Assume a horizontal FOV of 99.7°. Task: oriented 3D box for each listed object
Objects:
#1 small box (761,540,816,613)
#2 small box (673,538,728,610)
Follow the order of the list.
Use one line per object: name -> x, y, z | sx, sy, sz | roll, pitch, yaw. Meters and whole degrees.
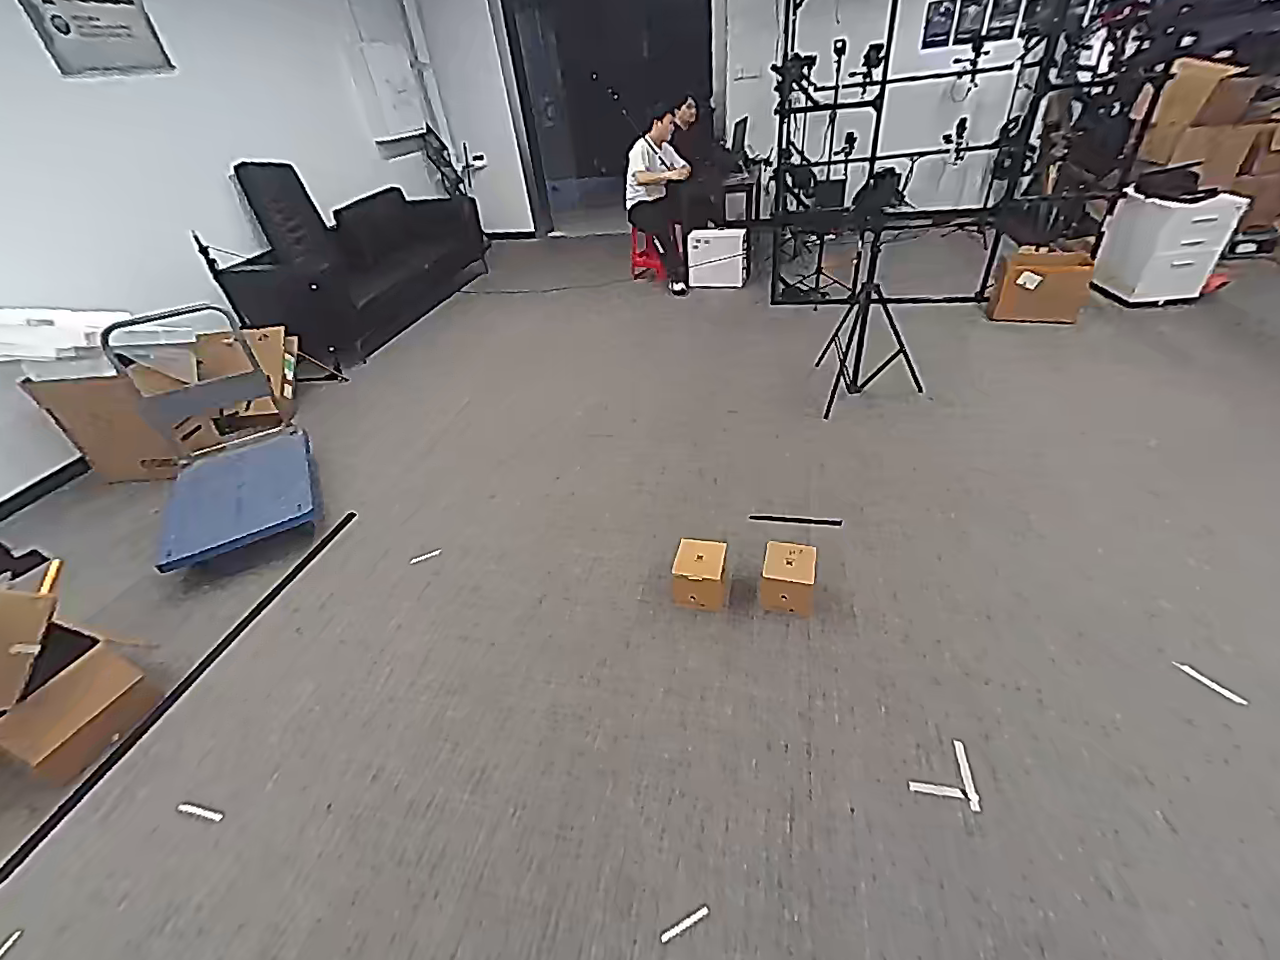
small box -> 0.509, 0.333, 1.857 | 0.168, 0.176, 0.179 | 6, 39, 17
small box -> 0.216, 0.333, 1.912 | 0.168, 0.176, 0.179 | 4, 39, 15
